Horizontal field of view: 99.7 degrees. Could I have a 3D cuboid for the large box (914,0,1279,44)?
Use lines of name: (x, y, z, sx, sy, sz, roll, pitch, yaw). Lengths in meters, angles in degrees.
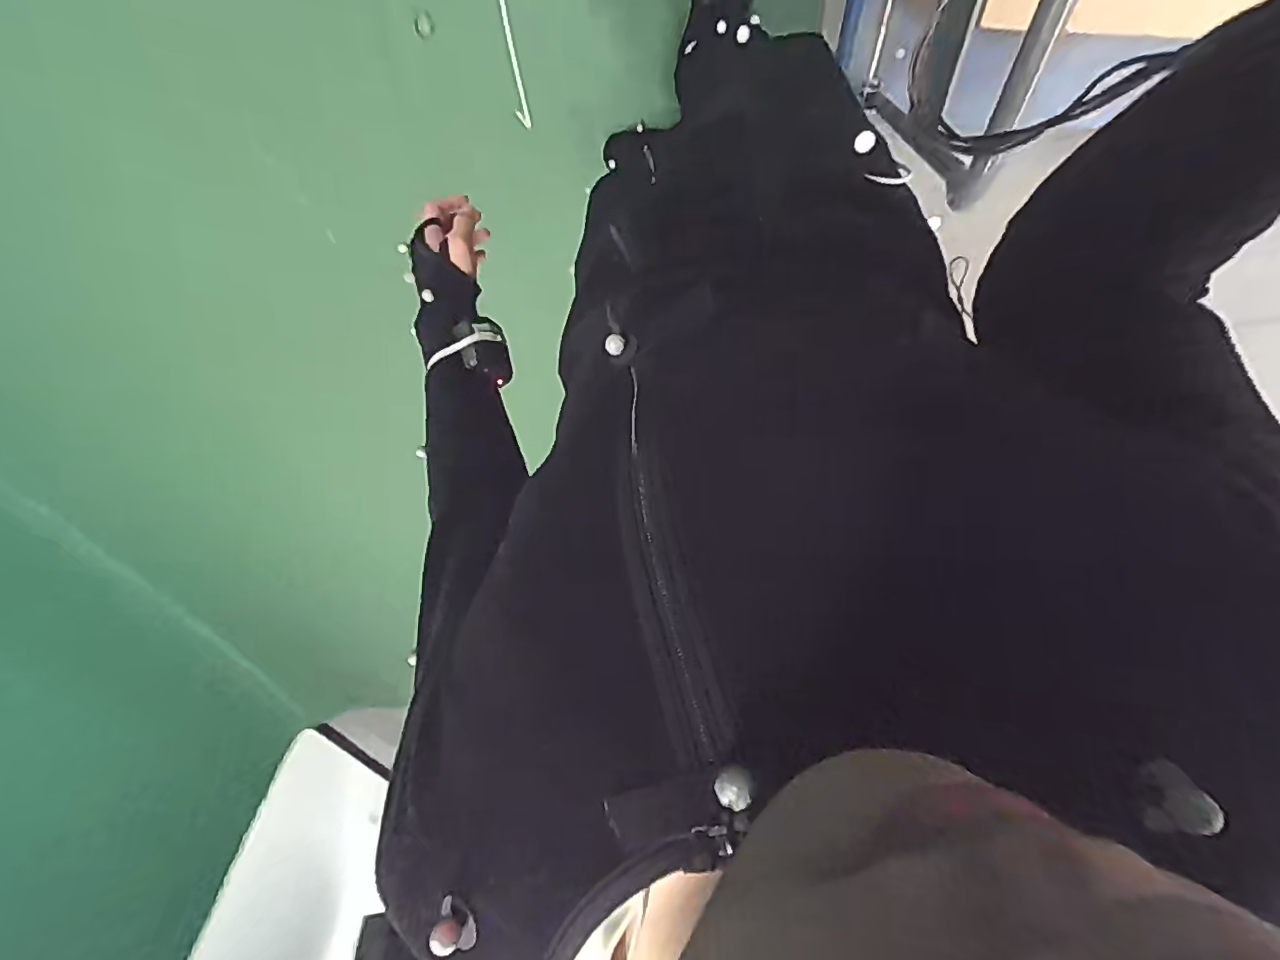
large box: (0.688, -0.845, 0.763, 0.408, 0.320, 0.320, 4, 135, -3)
